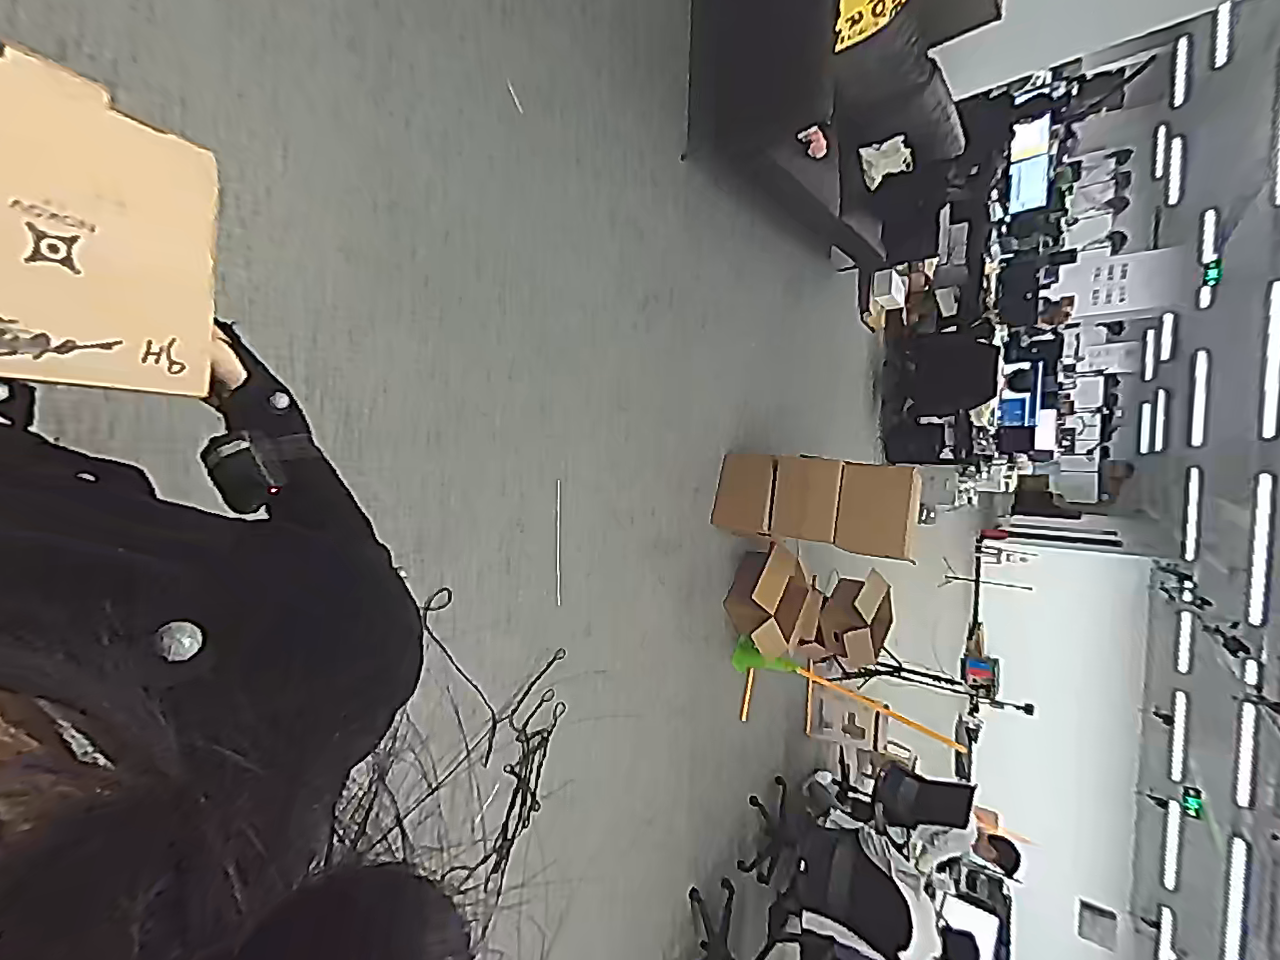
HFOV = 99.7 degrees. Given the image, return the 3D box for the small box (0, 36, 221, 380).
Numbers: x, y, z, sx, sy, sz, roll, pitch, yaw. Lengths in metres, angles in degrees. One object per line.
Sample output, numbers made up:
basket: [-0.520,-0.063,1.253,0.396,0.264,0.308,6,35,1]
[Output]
small box: [-0.414,-0.163,0.354,0.168,0.176,0.179,-8,101,-61]
